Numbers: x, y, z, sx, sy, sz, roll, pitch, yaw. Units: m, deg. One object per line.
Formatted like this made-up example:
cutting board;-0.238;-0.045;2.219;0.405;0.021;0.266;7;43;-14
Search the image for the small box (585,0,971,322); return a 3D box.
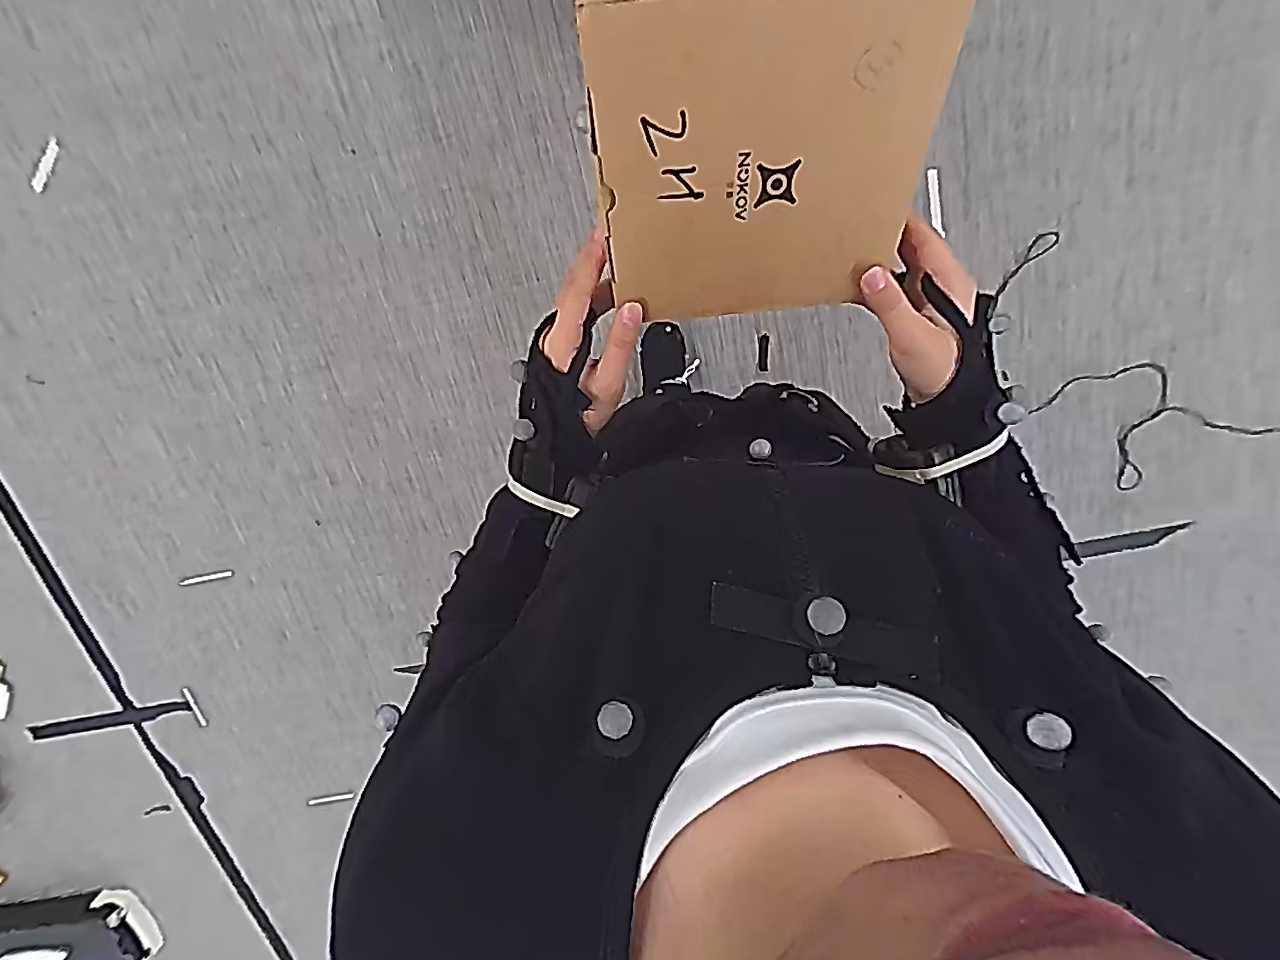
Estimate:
small box;0.061;-0.226;0.346;0.179;0.176;0.168;-5;142;2
